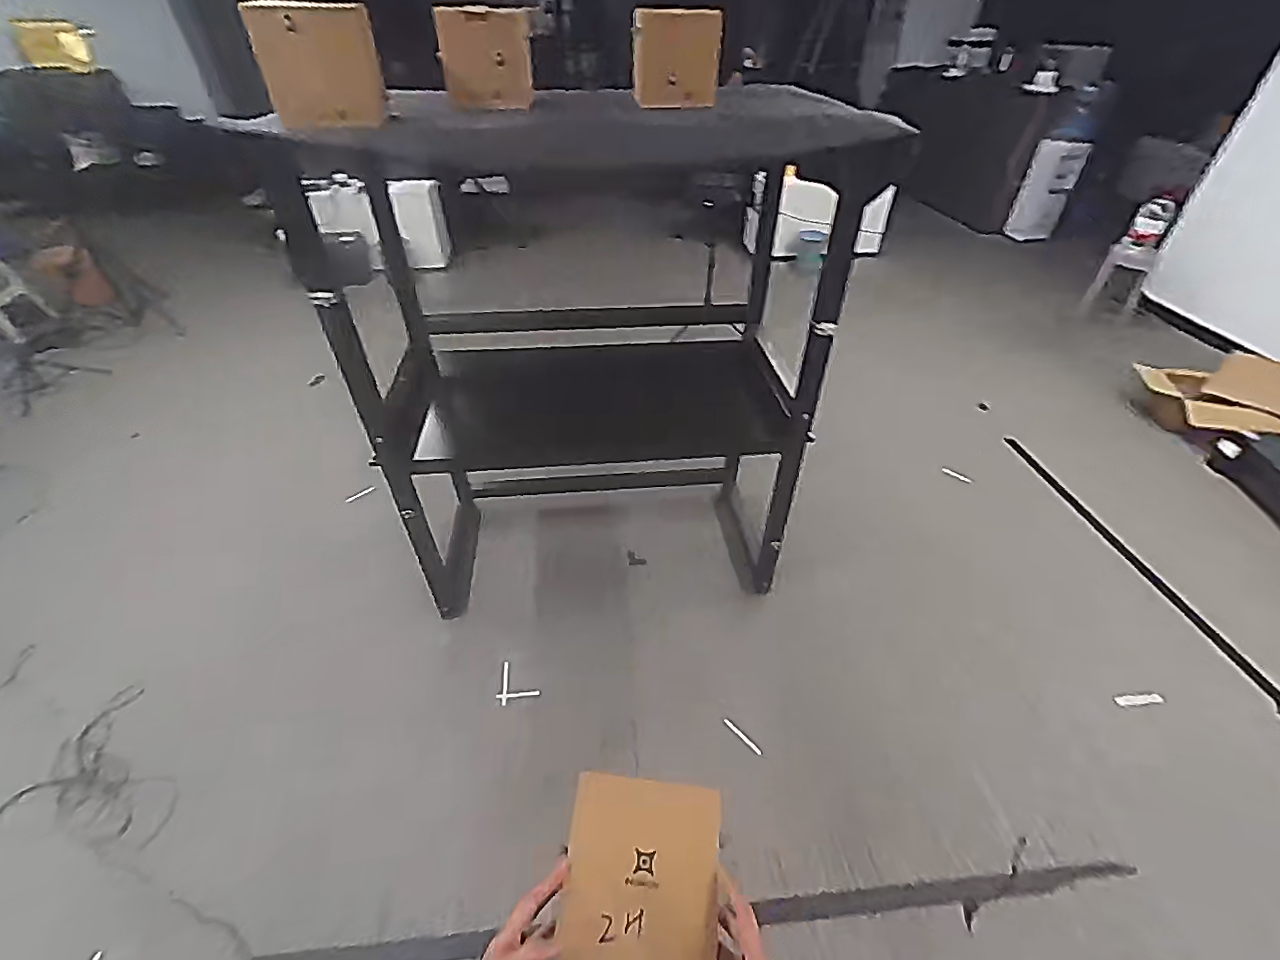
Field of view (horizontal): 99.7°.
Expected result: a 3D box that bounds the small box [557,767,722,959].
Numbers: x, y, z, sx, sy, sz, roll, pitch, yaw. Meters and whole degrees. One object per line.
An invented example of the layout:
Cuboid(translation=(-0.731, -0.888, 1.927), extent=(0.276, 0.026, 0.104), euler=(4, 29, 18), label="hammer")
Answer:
Cuboid(translation=(-0.004, 0.462, 0.642), extent=(0.168, 0.176, 0.179), euler=(9, 53, -2), label="small box")

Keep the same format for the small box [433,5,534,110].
Cuboid(translation=(-0.324, -0.908, 1.163), extent=(0.168, 0.176, 0.179), euler=(-1, 42, -3), label="small box")

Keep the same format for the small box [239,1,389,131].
Cuboid(translation=(-0.559, -0.734, 0.960), extent=(0.168, 0.176, 0.179), euler=(-8, 42, -10), label="small box")

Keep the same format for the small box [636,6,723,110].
Cuboid(translation=(0.080, -0.937, 1.200), extent=(0.168, 0.176, 0.179), euler=(-3, 42, -4), label="small box")
